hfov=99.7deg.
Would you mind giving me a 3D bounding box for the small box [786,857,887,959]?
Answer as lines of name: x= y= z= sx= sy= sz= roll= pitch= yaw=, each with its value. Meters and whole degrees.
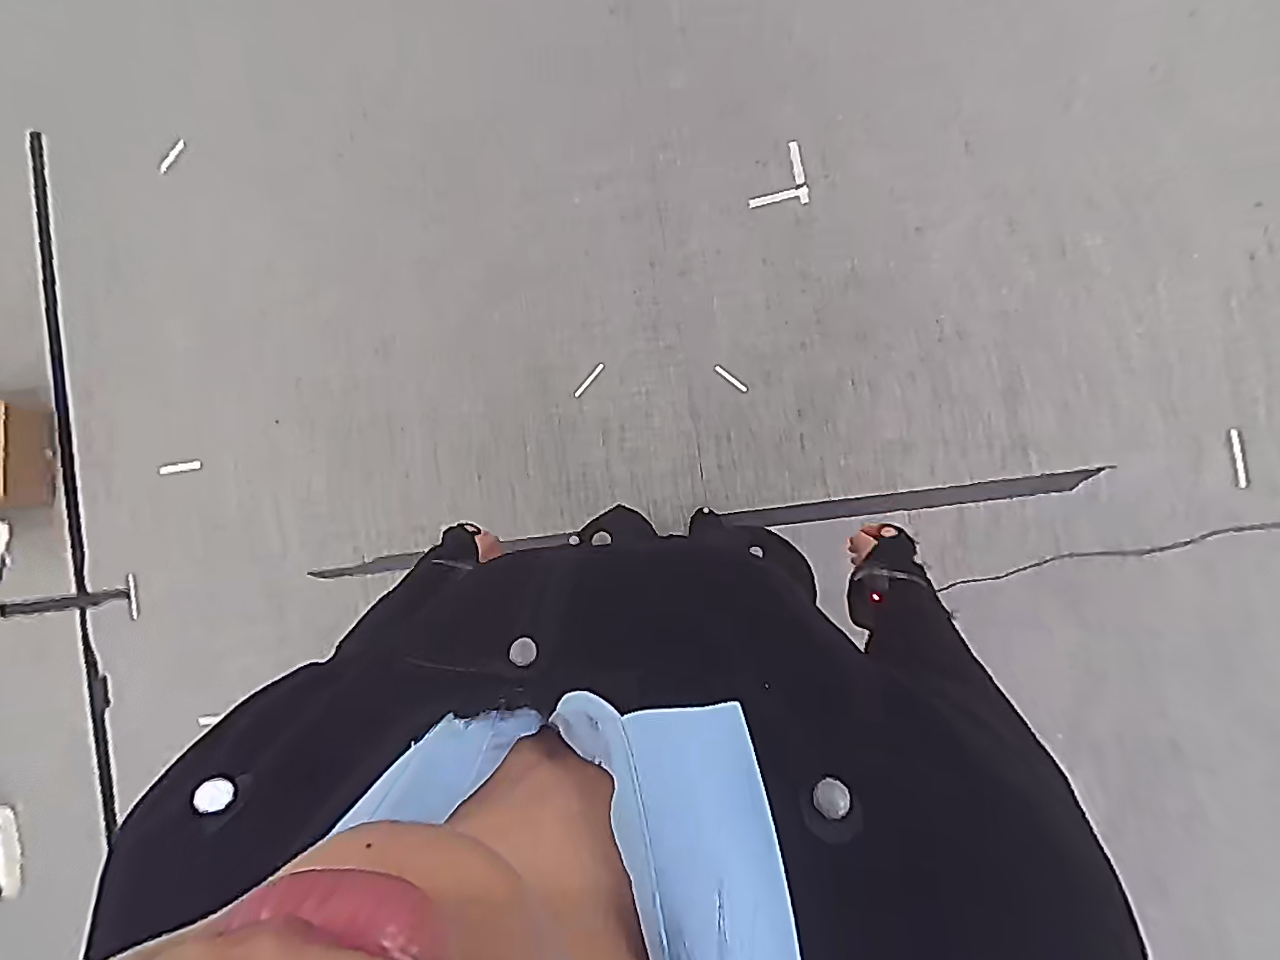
small box: x=0.417 y=0.952 z=1.151 sx=0.168 sy=0.176 sz=0.179 roll=-14 pitch=86 yaw=8
